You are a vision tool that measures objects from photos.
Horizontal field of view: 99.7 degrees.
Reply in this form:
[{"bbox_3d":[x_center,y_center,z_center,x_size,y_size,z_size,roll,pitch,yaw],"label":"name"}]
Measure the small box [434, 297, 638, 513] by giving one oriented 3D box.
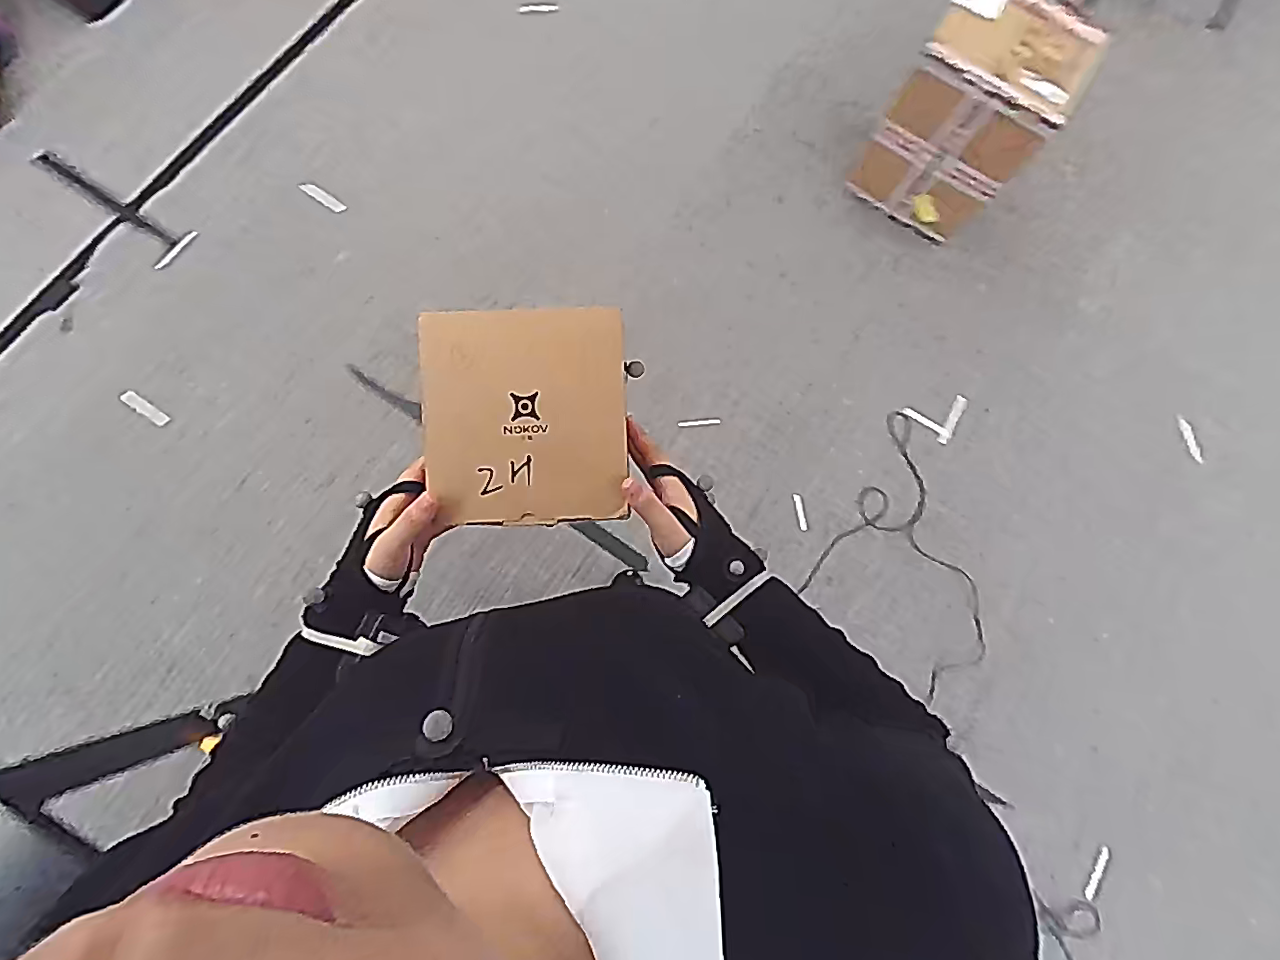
[{"bbox_3d":[-0.086,-0.062,0.518,0.168,0.176,0.179,-1,93,0],"label":"small box"}]
